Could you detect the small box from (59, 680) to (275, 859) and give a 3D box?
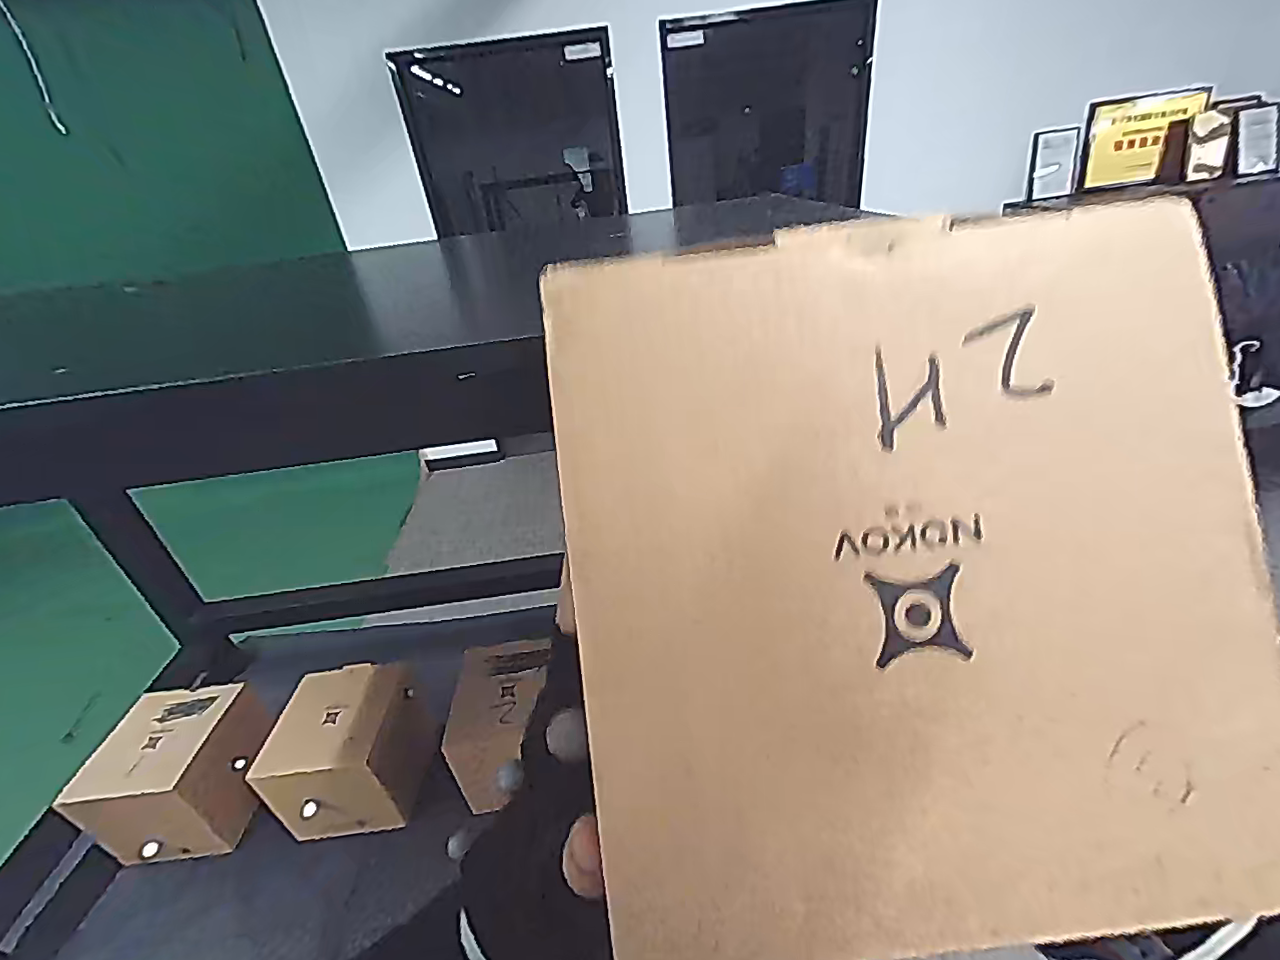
[{"bbox_3d":[-0.692,0.440,0.831,0.168,0.176,0.179,-7,31,0],"label":"small box"}]

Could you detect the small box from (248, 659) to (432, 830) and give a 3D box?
[{"bbox_3d":[-0.441,0.410,0.834,0.168,0.176,0.179,-7,30,0],"label":"small box"}]

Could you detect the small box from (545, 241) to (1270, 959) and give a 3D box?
[{"bbox_3d":[0.064,0.035,0.216,0.168,0.179,0.176,-6,-4,-1],"label":"small box"}]
